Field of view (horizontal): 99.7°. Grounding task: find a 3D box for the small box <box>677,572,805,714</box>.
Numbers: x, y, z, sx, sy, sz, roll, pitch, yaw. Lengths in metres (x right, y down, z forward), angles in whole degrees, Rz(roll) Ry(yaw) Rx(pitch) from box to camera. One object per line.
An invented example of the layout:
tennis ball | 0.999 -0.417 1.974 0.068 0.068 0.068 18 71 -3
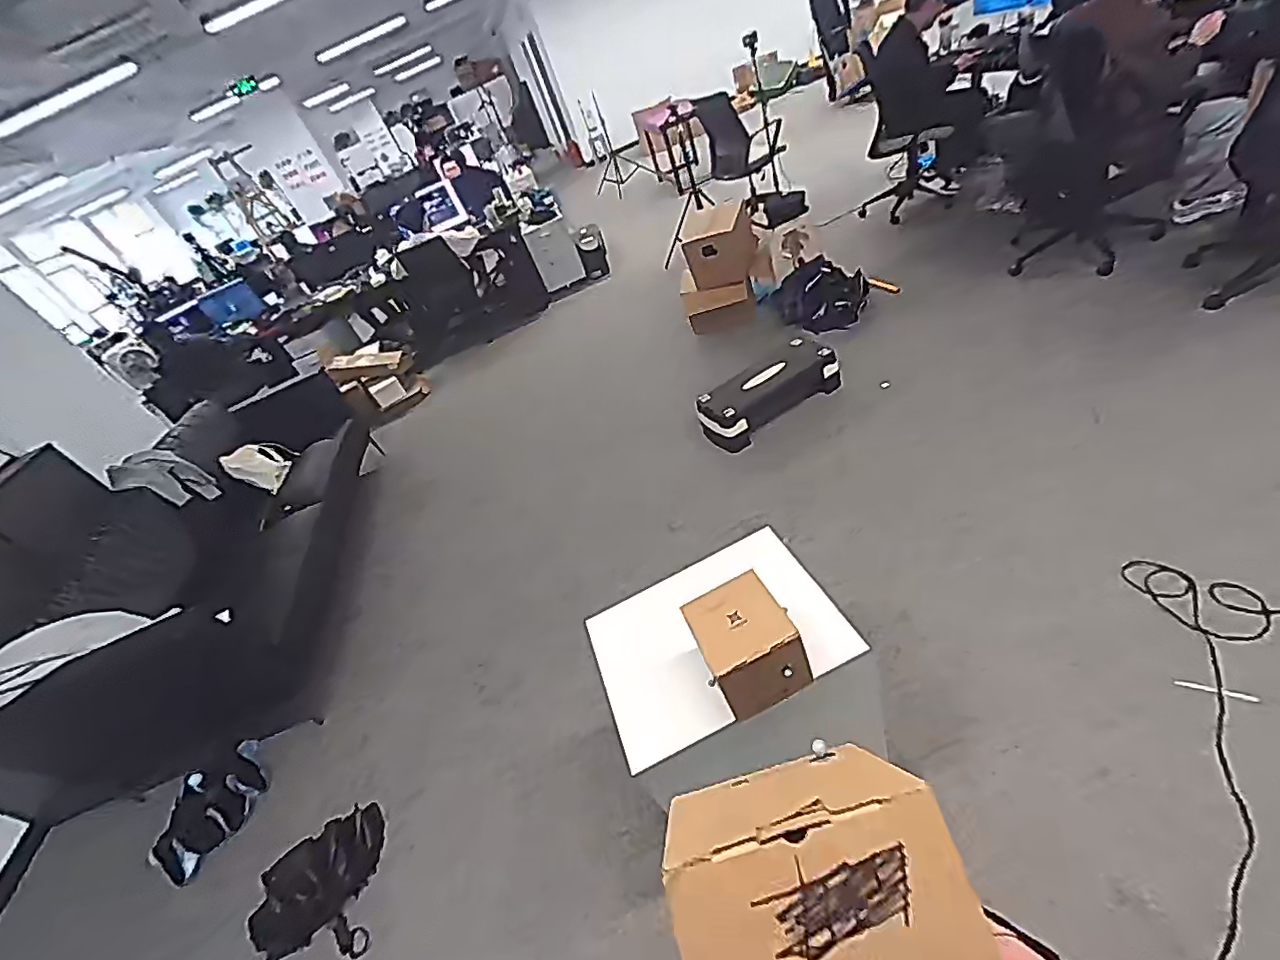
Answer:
small box | 0.194 0.317 1.032 0.168 0.176 0.179 -26 35 -4

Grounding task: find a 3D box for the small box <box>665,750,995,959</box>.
small box | 0.117 0.299 0.367 0.168 0.176 0.179 -16 73 0
